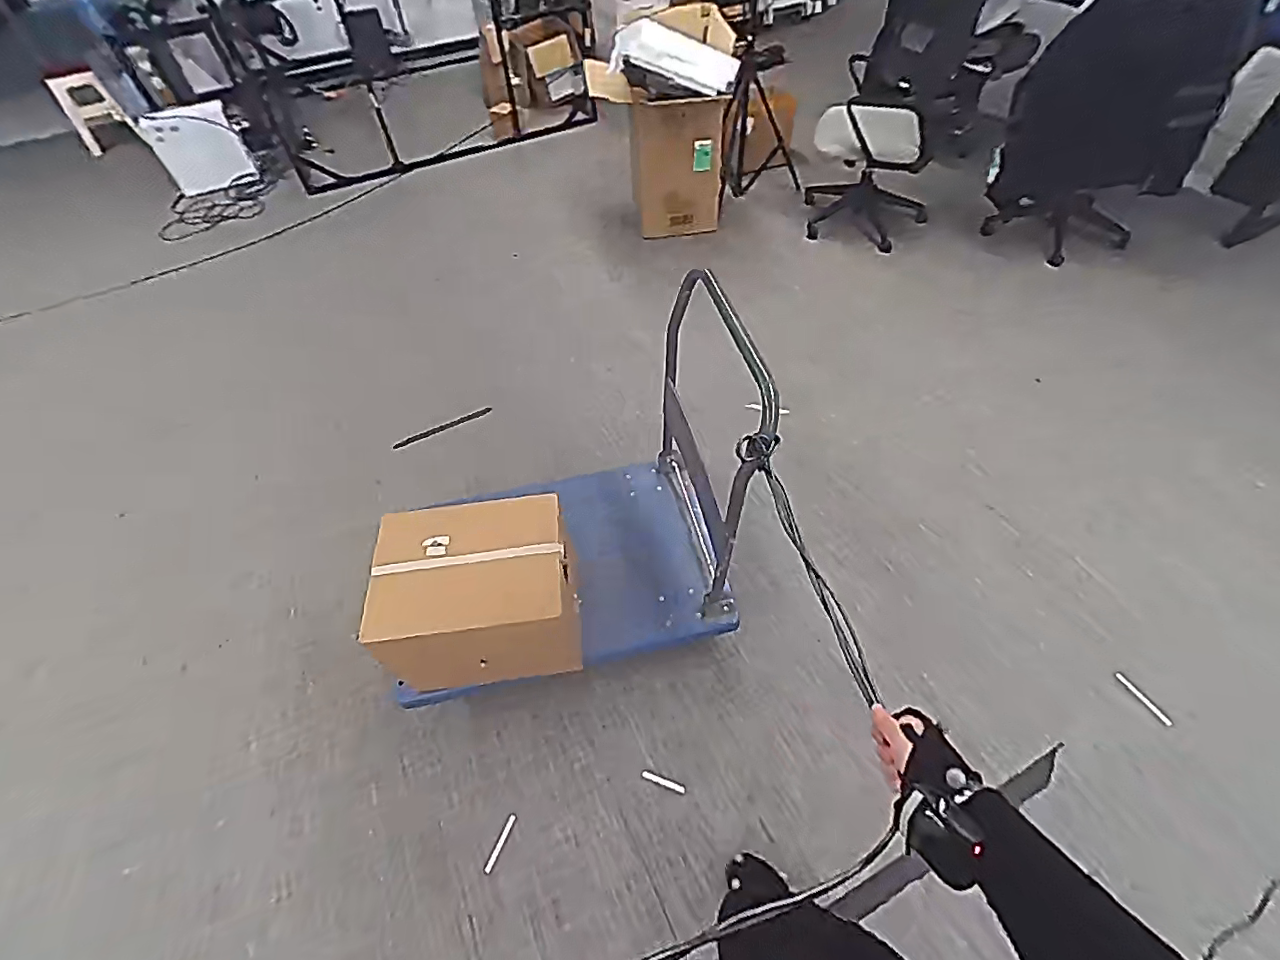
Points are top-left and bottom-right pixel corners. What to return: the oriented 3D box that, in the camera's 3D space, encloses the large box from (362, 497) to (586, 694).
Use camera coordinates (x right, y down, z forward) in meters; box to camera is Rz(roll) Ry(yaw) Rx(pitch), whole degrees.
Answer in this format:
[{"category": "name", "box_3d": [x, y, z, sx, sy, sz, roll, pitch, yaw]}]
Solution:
[{"category": "large box", "box_3d": [-0.356, 0.276, 1.264, 0.408, 0.320, 0.320, -8, 51, -2]}]
